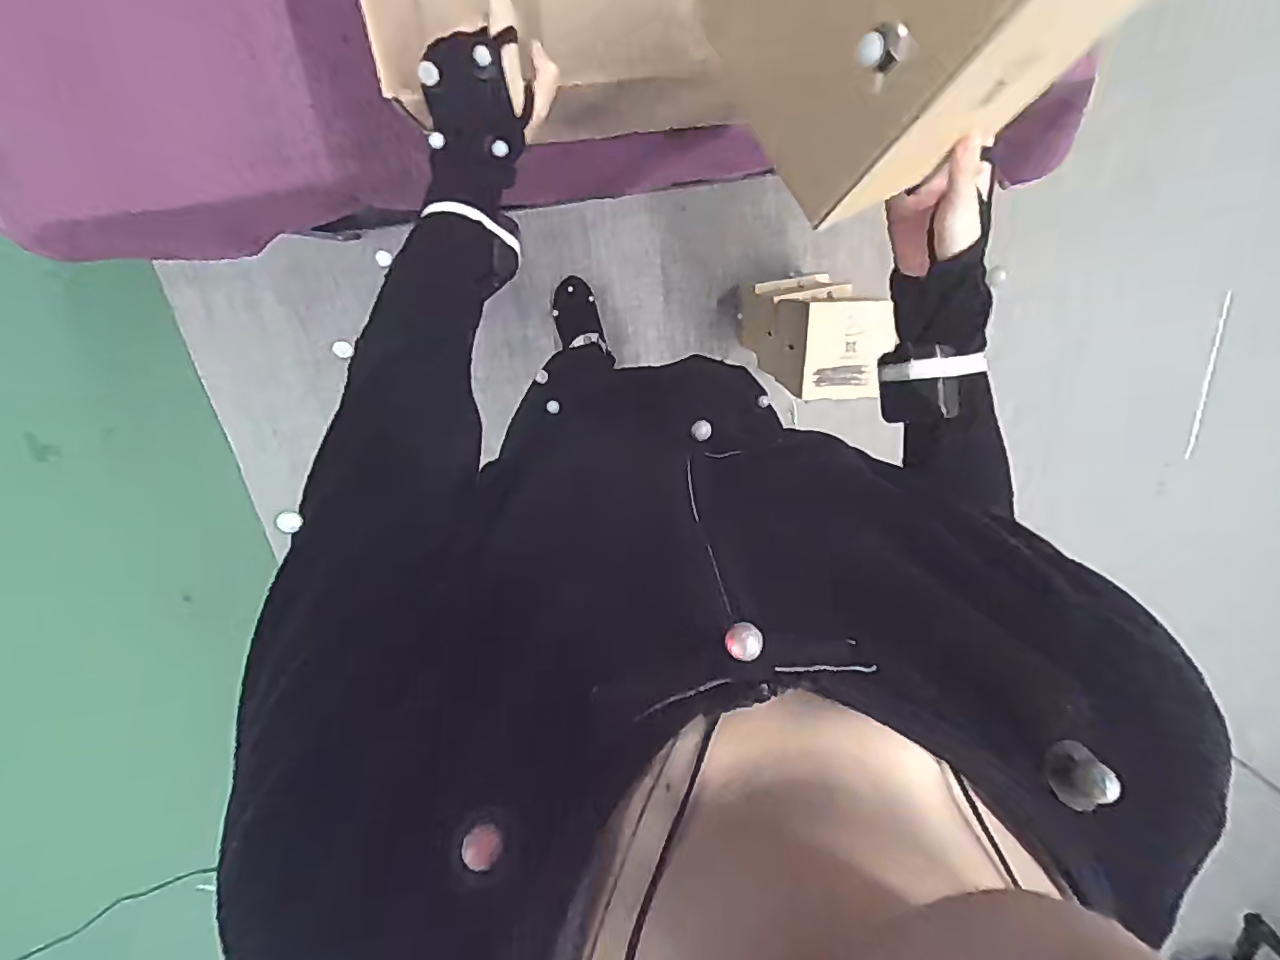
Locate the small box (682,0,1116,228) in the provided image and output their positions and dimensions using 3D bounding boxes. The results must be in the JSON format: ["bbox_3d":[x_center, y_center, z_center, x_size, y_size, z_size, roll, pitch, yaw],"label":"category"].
[{"bbox_3d":[0.148,-0.293,0.313,0.168,0.179,0.176,-32,86,-21],"label":"small box"}]

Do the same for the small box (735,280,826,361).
[{"bbox_3d":[0.345,-0.401,1.344,0.179,0.176,0.168,-9,111,-1],"label":"small box"}]
